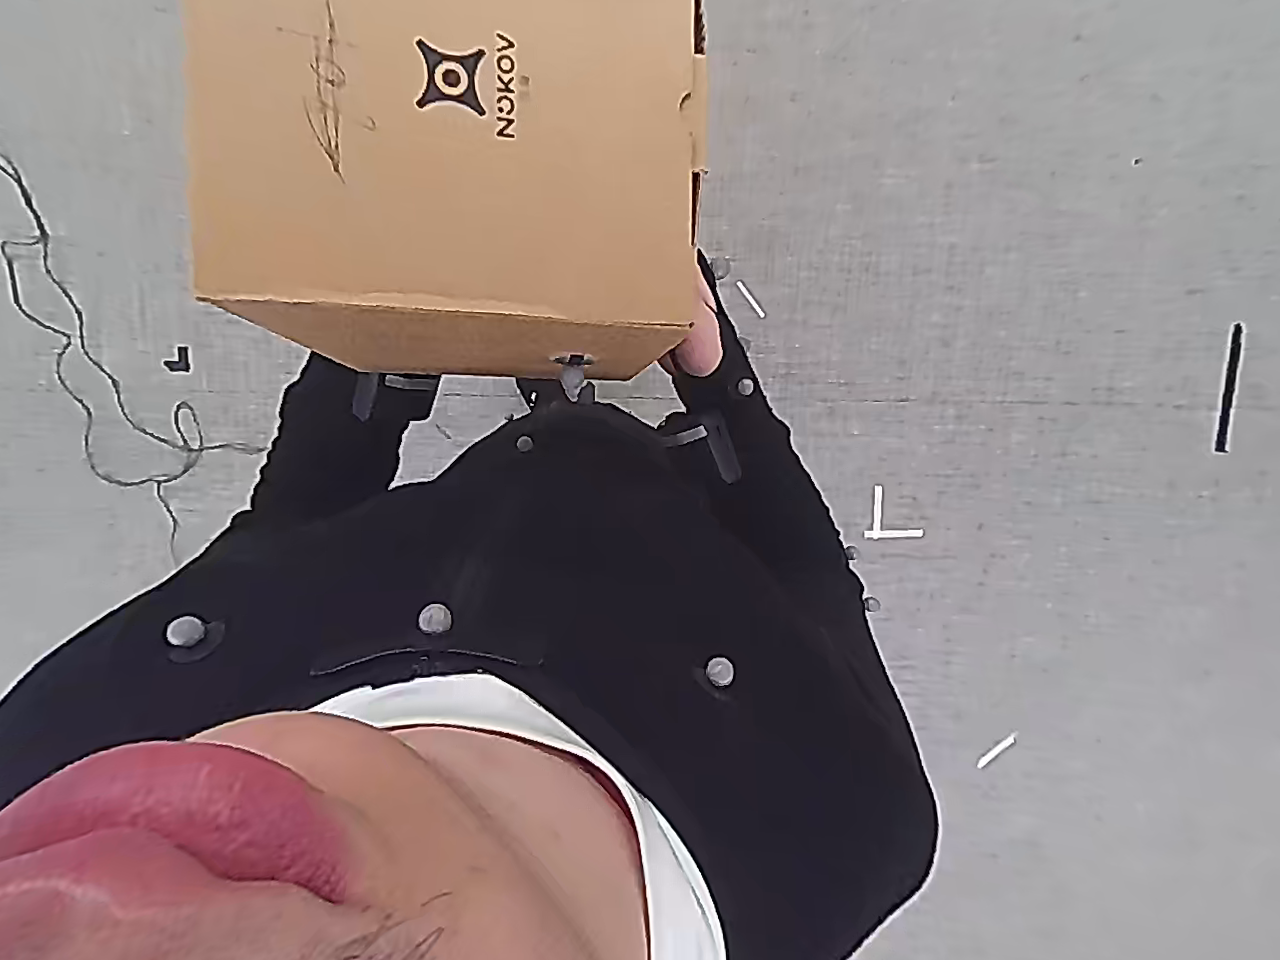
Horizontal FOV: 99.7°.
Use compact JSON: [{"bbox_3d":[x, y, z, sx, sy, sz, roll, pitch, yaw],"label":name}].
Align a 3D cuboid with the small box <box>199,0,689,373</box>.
[{"bbox_3d":[-0.082,-0.152,0.281,0.179,0.176,0.168,0,92,-10],"label":"small box"}]
